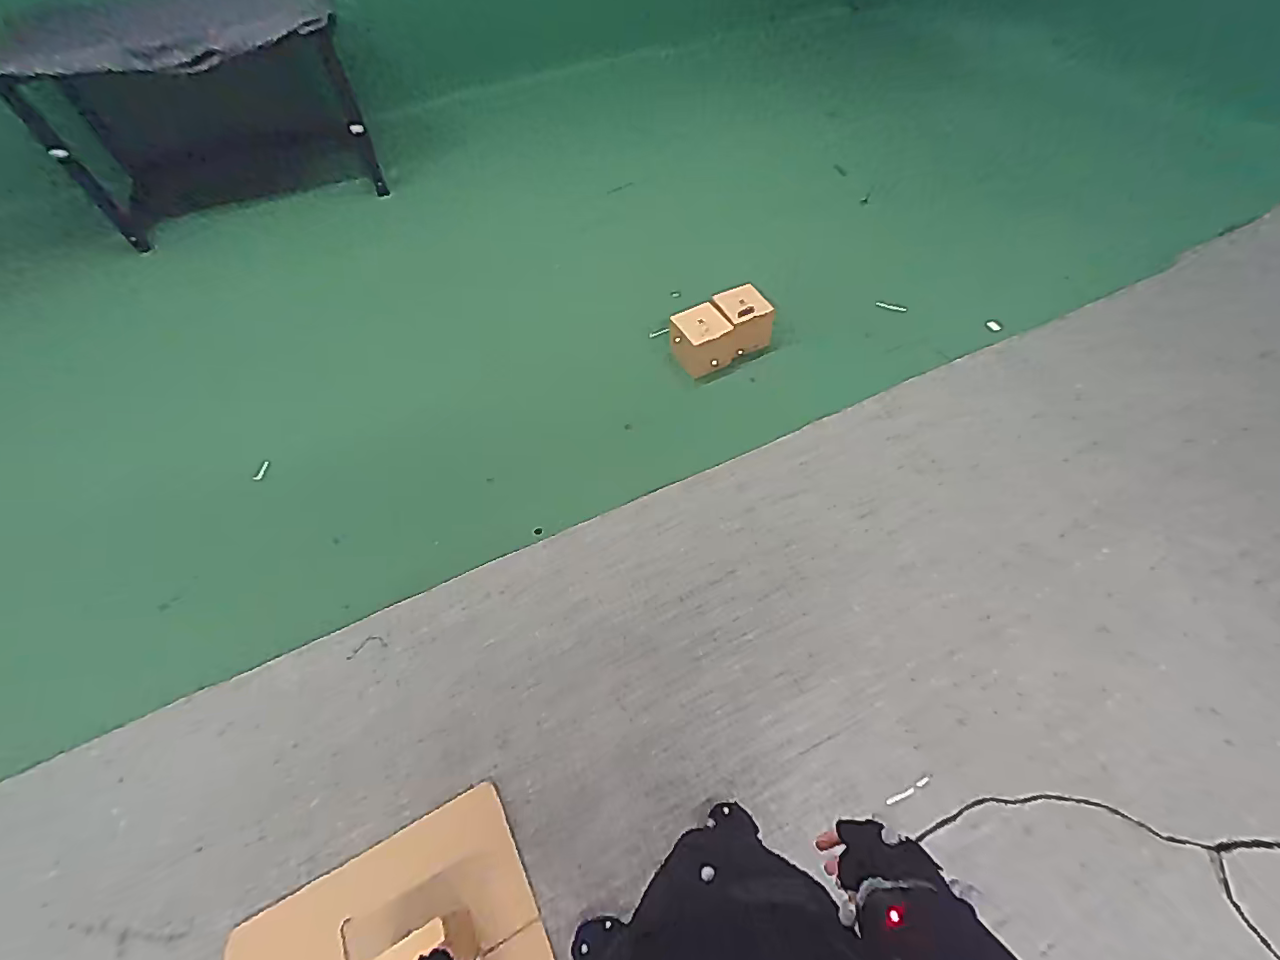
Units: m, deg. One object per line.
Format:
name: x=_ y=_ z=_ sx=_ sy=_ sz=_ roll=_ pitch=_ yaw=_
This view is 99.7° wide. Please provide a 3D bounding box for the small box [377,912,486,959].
small box: x=-0.401 y=0.964 z=1.023 sx=0.179 sy=0.176 sz=0.168 roll=-27 pitch=58 yaw=-15
